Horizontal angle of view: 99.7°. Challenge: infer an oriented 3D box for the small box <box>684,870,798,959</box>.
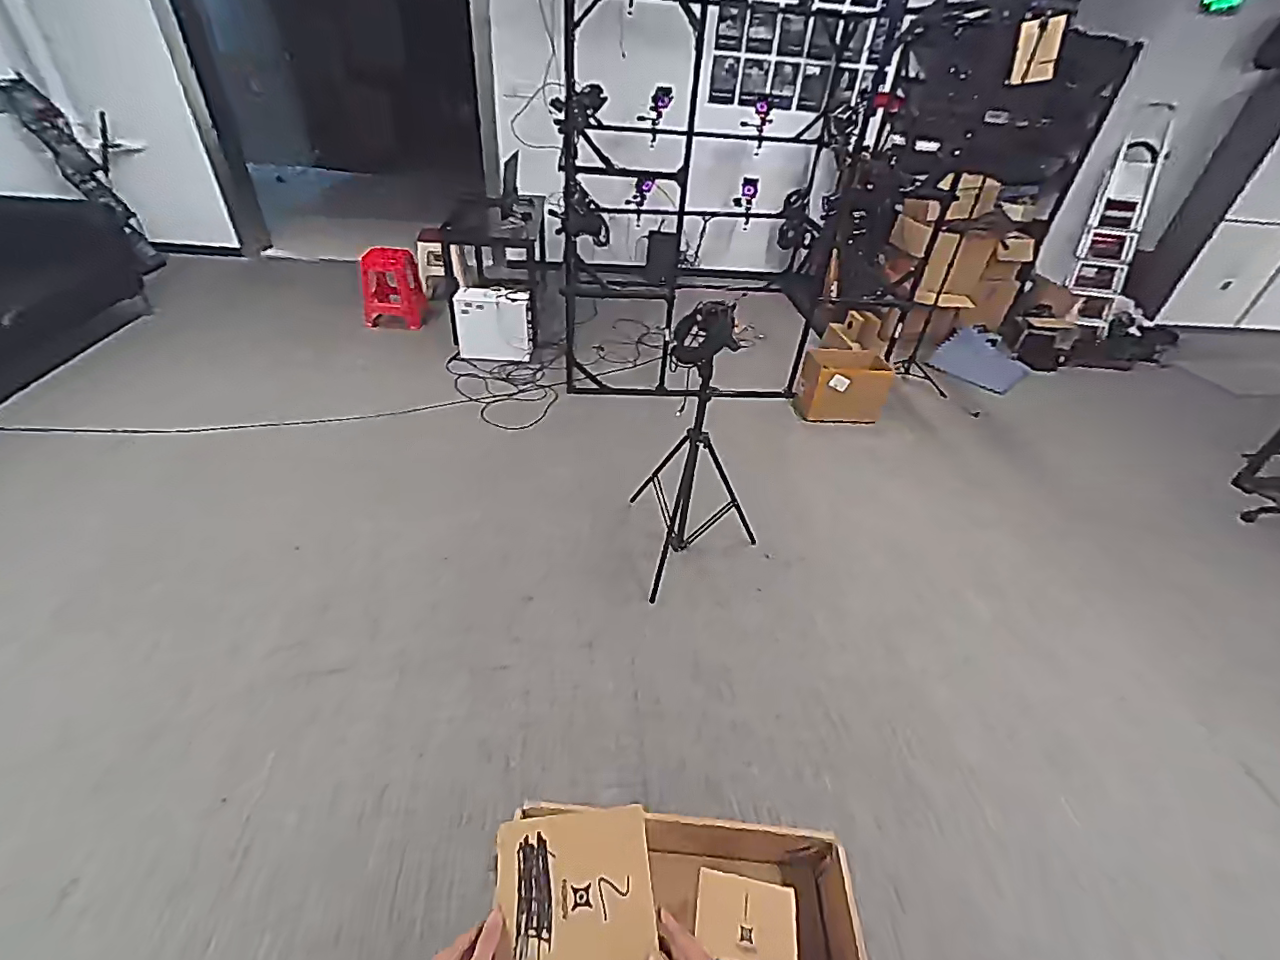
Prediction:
[{"bbox_3d":[0.164,0.801,0.903,0.168,0.176,0.179,9,37,7],"label":"small box"}]
